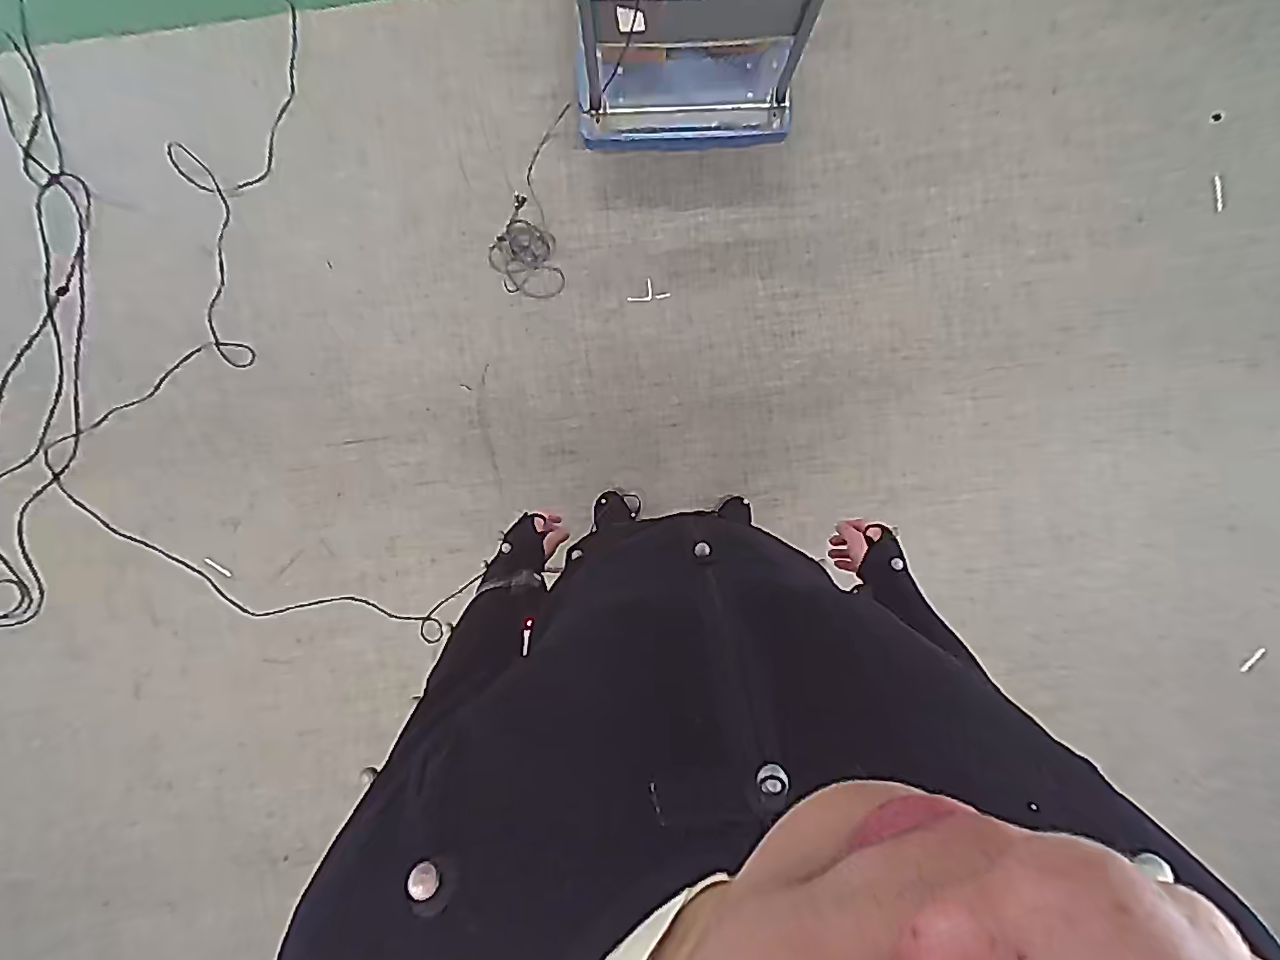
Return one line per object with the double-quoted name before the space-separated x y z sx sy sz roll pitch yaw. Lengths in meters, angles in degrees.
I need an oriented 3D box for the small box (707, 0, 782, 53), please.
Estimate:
"small box" 0.263 -1.243 1.380 0.168 0.176 0.179 -1 91 1
